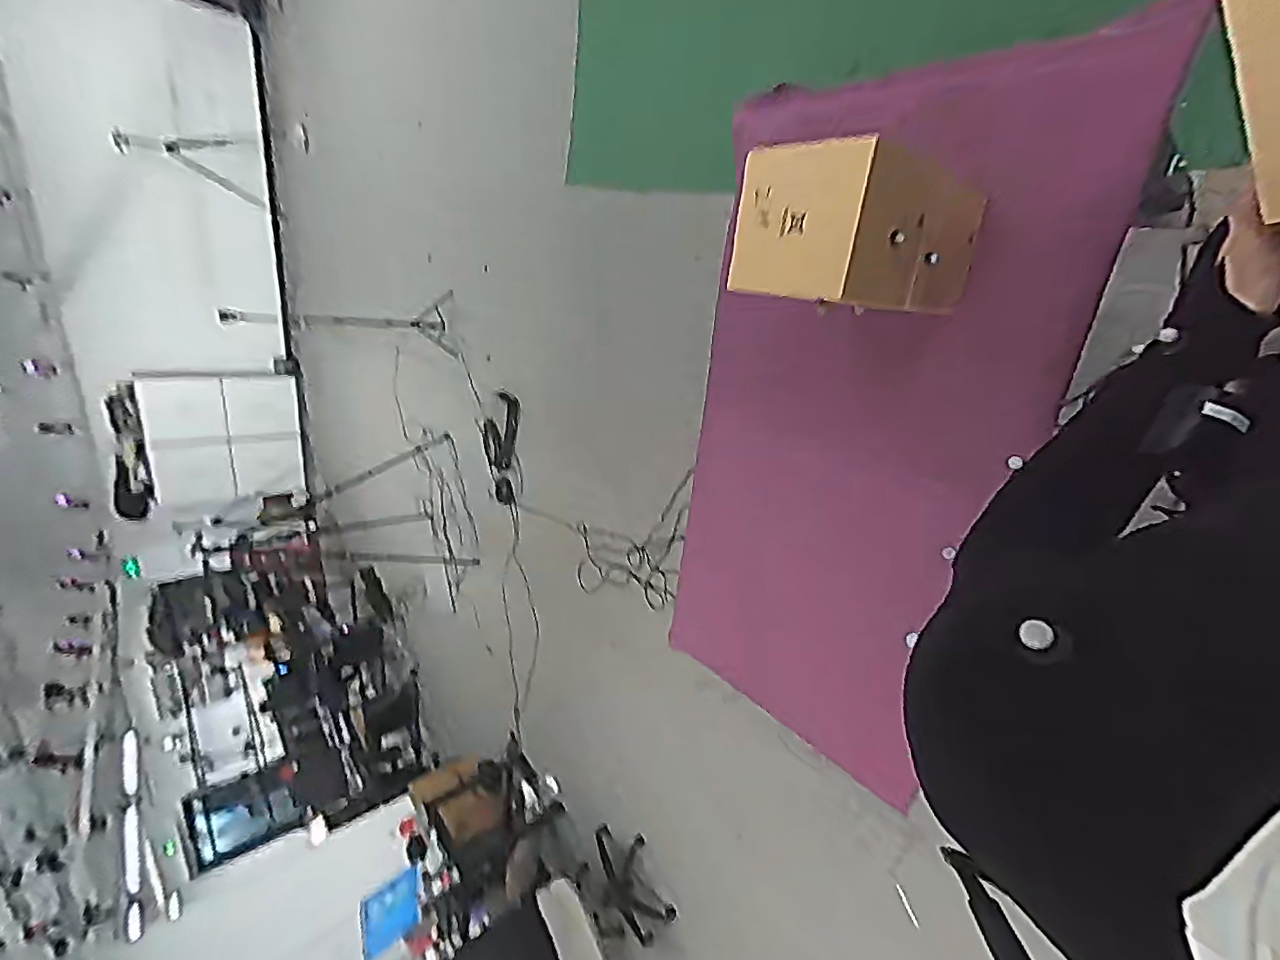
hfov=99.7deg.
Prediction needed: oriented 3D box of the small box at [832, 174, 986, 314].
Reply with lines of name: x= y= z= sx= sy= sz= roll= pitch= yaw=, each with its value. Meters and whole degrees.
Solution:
small box: x=0.372 y=-0.342 z=0.806 sx=0.179 sy=0.176 sz=0.168 roll=25 pitch=118 yaw=45

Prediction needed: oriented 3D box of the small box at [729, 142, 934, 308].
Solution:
small box: x=0.246 y=-0.319 z=0.701 sx=0.179 sy=0.176 sz=0.168 roll=27 pitch=118 yaw=45
